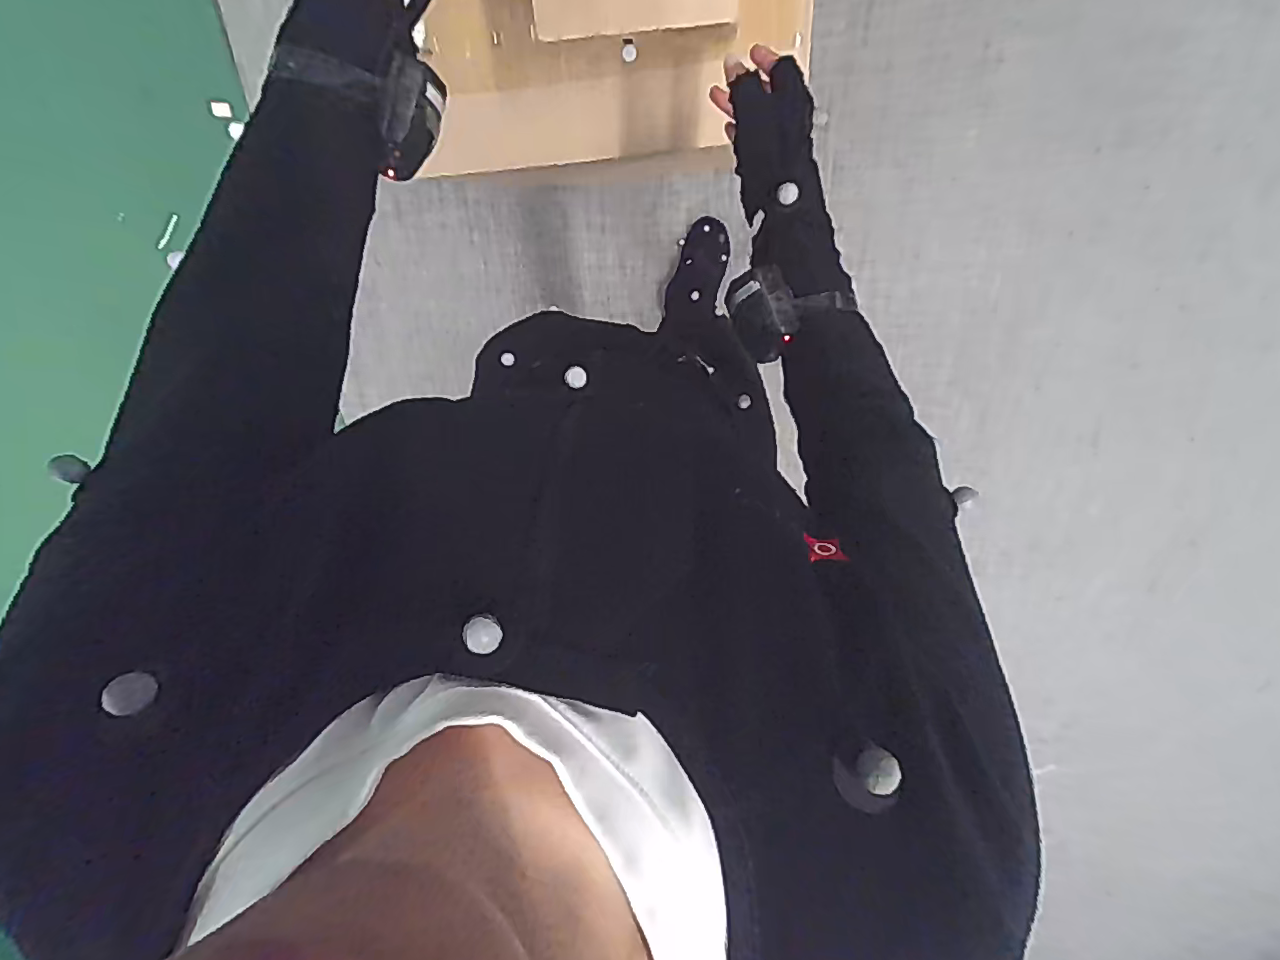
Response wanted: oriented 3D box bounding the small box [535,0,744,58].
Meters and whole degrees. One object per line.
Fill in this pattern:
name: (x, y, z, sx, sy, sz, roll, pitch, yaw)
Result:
small box: (0.006, -0.493, 0.482, 0.179, 0.176, 0.168, 2, 123, 9)
